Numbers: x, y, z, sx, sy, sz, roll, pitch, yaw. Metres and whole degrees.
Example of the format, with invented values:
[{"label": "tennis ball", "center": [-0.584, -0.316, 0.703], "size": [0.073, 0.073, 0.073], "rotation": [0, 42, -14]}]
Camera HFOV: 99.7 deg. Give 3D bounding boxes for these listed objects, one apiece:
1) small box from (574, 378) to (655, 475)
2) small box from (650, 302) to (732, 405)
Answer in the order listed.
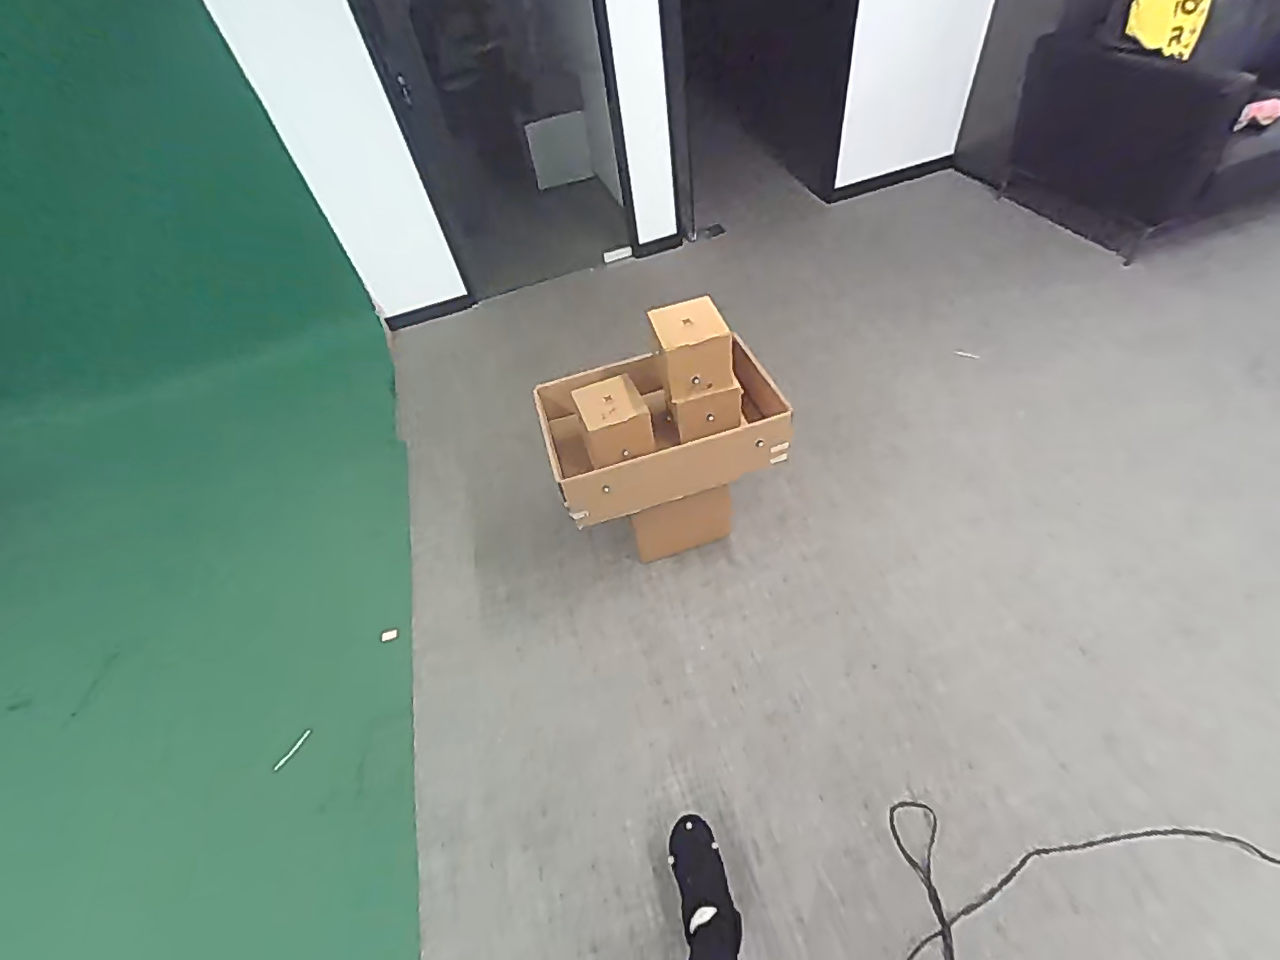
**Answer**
[{"label": "small box", "center": [-0.069, -0.144, 1.475], "size": [0.168, 0.176, 0.179], "rotation": [-20, 49, -8]}, {"label": "small box", "center": [0.130, -0.321, 1.380], "size": [0.168, 0.176, 0.179], "rotation": [-16, 48, -3]}]
